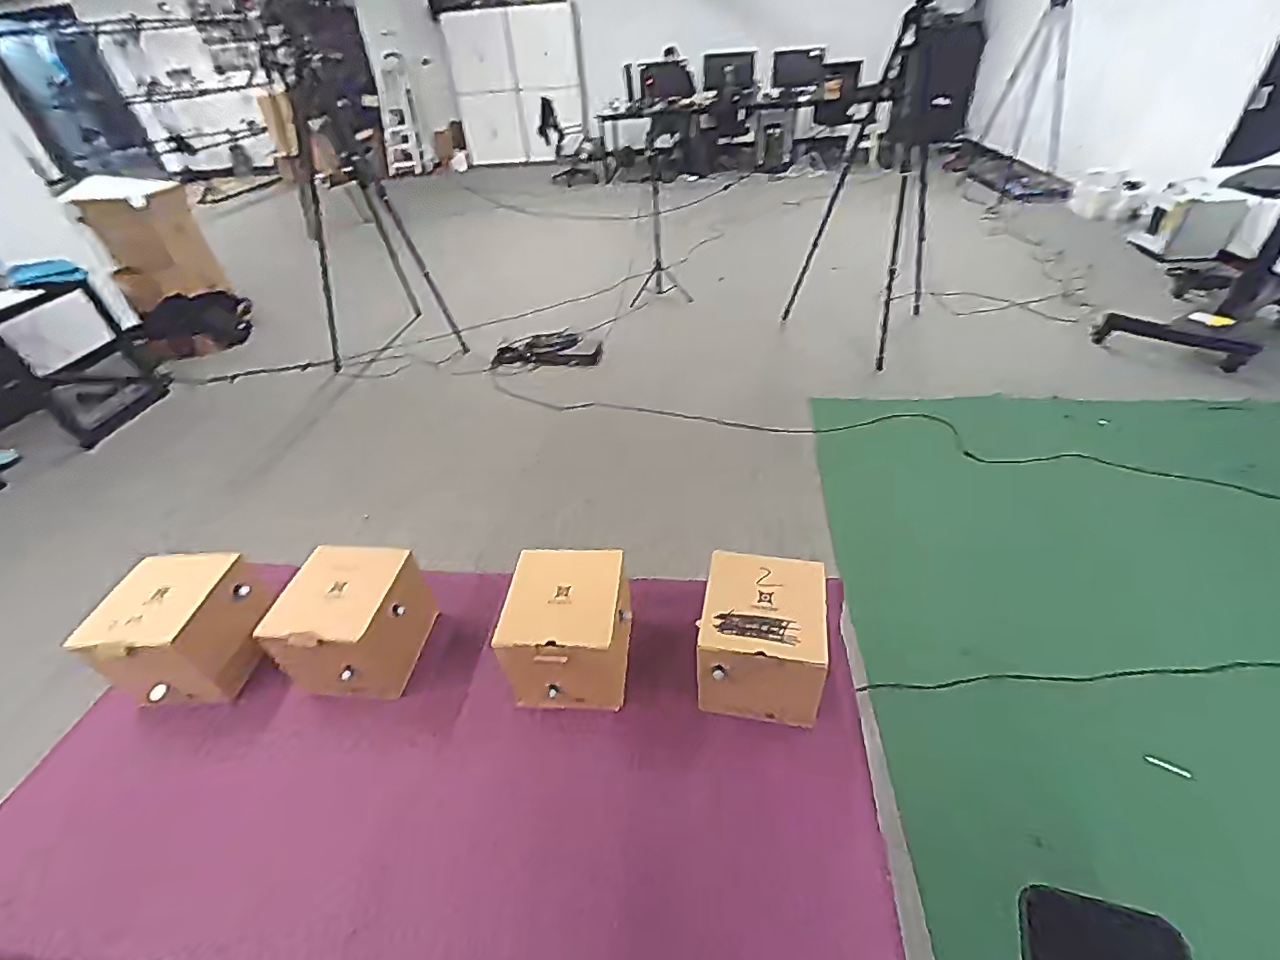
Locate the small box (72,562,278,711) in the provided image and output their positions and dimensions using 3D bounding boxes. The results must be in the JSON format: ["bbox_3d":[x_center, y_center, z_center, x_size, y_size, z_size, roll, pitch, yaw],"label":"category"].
[{"bbox_3d":[-0.734,0.256,0.889,0.168,0.176,0.179,-3,40,3],"label":"small box"}]

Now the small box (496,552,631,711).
[{"bbox_3d":[-0.105,0.232,0.842,0.168,0.176,0.179,-1,41,6],"label":"small box"}]

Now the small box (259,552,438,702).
[{"bbox_3d":[-0.453,0.238,0.878,0.168,0.176,0.179,1,40,7],"label":"small box"}]
